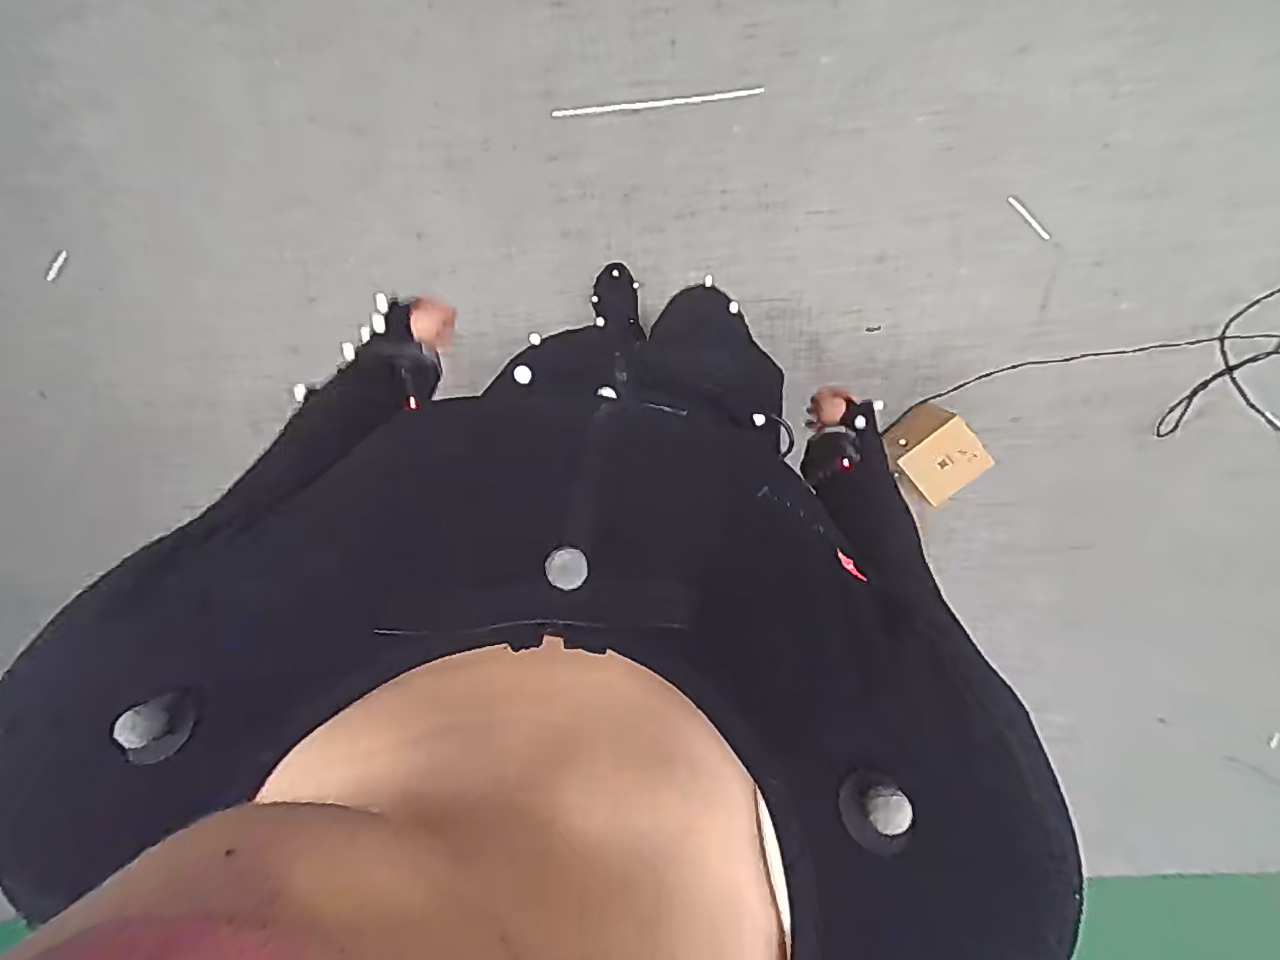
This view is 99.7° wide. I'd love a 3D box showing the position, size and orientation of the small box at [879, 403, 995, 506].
[{"bbox_3d":[0.734,-0.070,1.365,0.179,0.176,0.168,-41,103,14],"label":"small box"}]
